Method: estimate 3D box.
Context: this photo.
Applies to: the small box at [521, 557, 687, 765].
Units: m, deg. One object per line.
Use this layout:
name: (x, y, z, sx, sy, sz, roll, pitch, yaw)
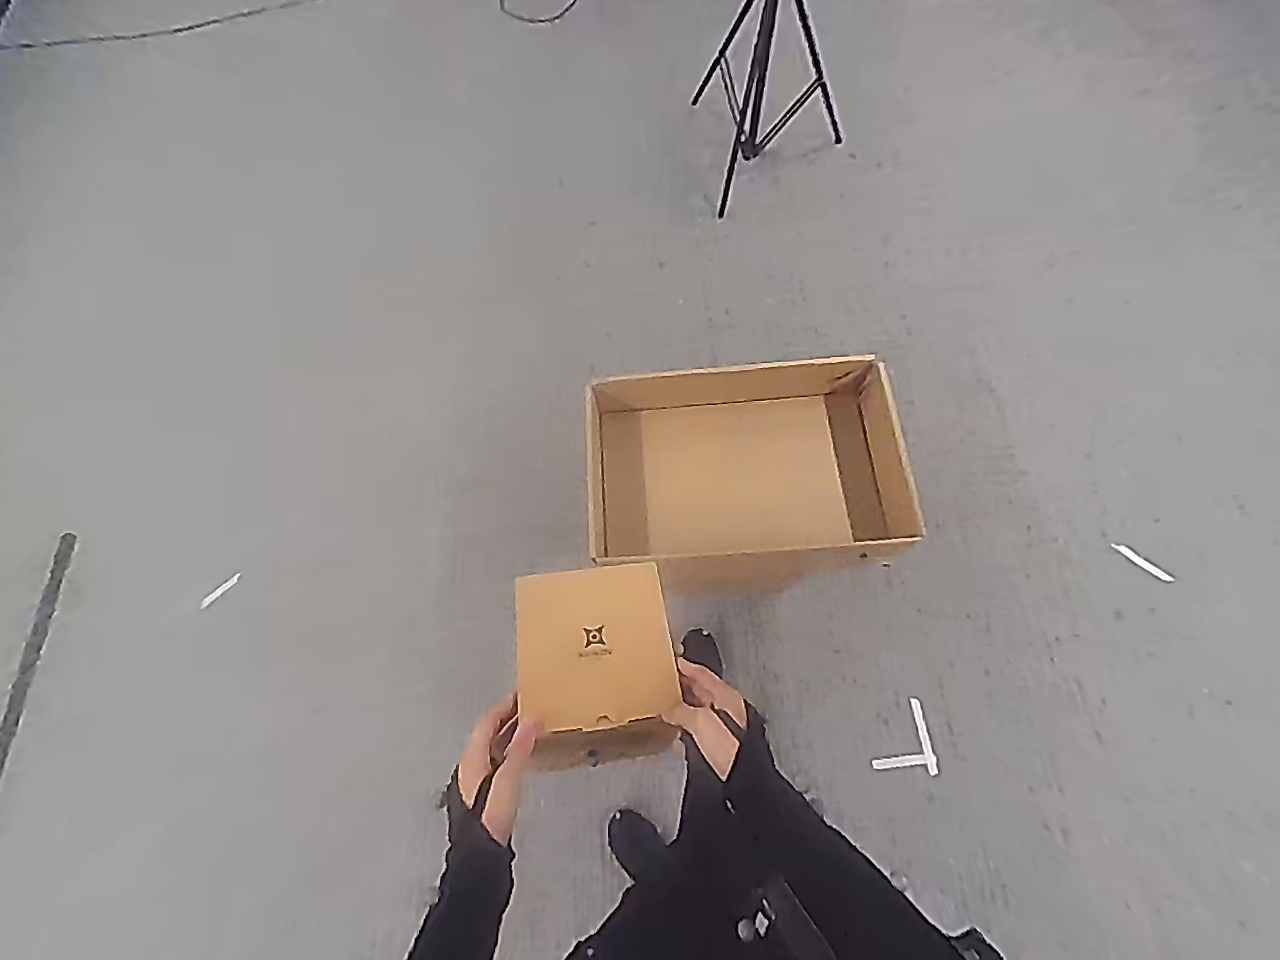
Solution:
small box: (-0.051, 0.215, 0.642, 0.168, 0.176, 0.179, -5, 52, -9)
